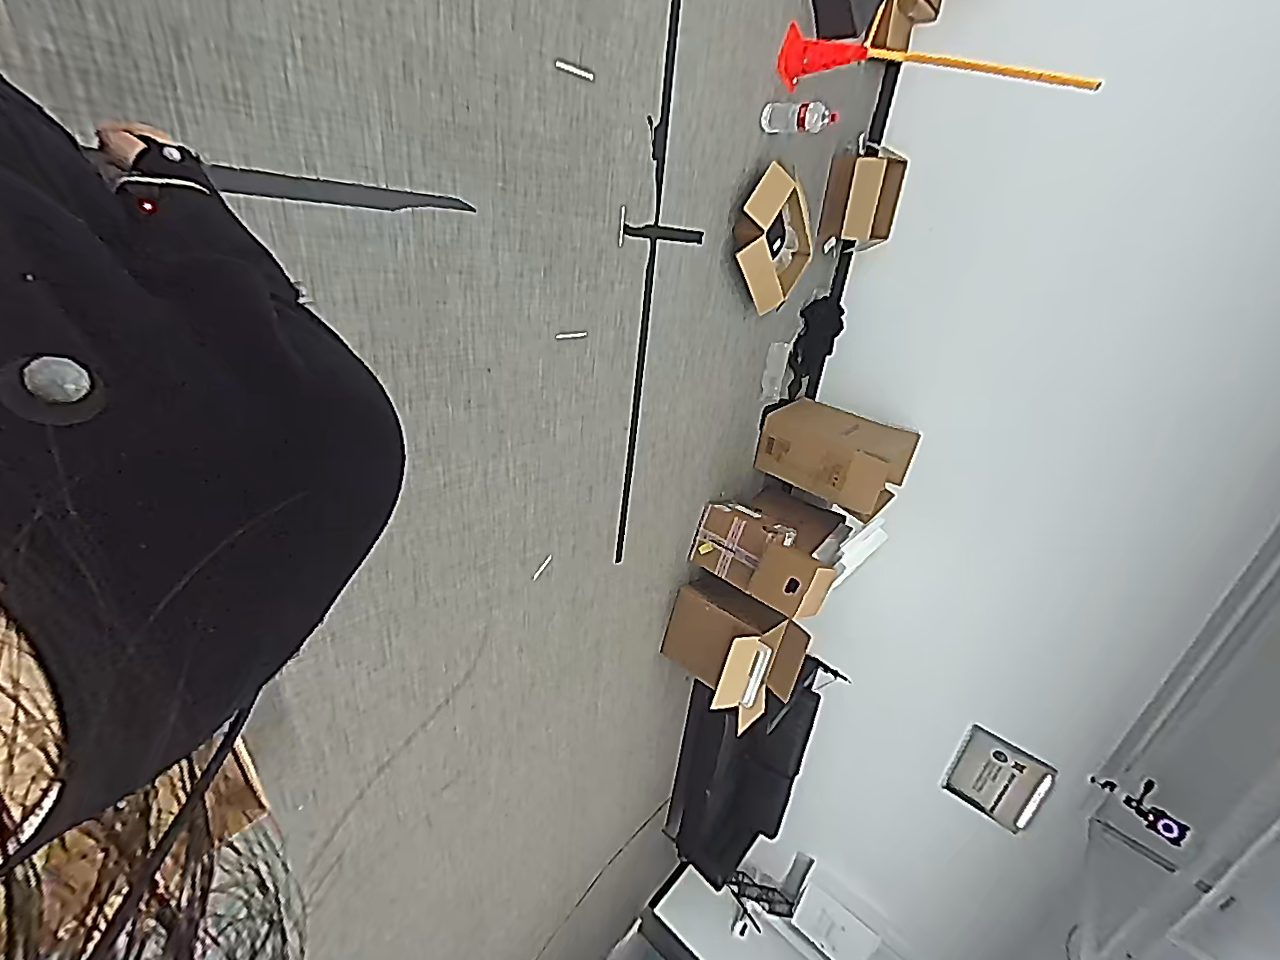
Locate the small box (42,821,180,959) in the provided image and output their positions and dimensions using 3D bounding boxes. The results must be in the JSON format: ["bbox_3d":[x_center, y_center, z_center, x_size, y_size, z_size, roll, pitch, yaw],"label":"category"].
[{"bbox_3d":[-1.176,0.916,1.207,0.168,0.176,0.179,-27,132,-43],"label":"small box"}]
